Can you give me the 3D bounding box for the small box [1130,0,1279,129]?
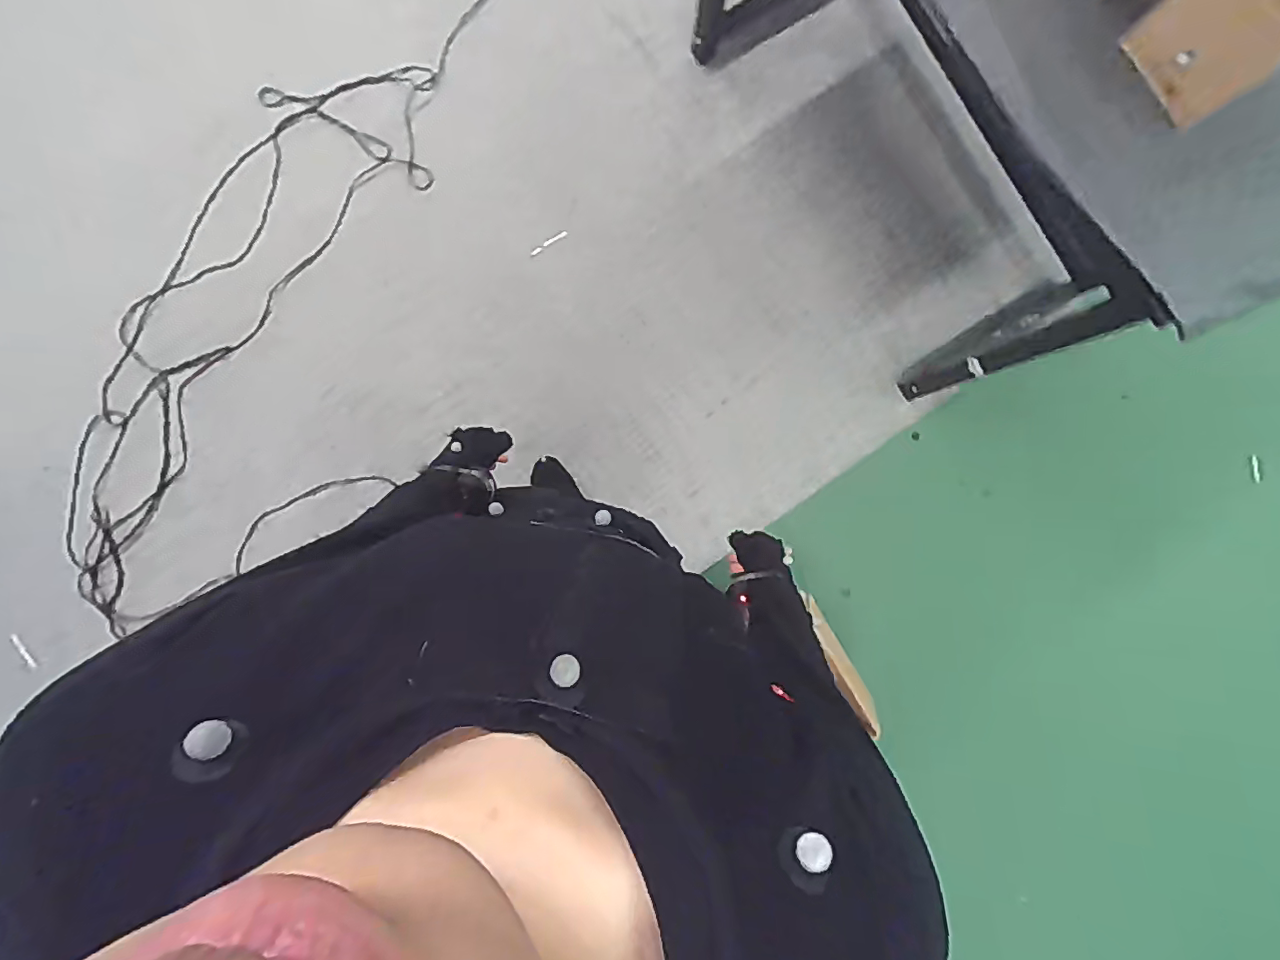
[{"bbox_3d":[0.842,-0.635,0.733,0.179,0.176,0.168,-34,89,-3],"label":"small box"}]
